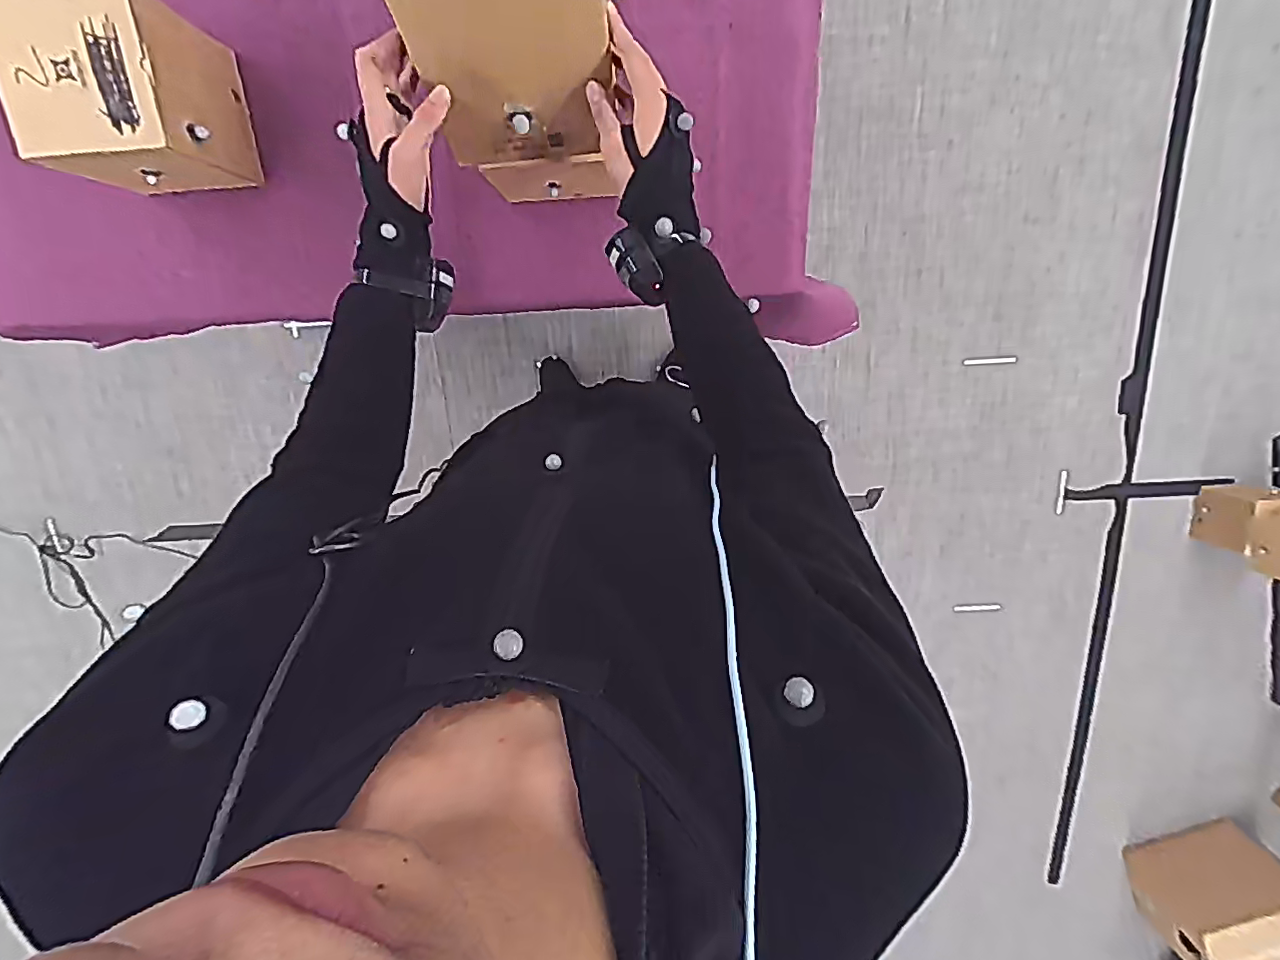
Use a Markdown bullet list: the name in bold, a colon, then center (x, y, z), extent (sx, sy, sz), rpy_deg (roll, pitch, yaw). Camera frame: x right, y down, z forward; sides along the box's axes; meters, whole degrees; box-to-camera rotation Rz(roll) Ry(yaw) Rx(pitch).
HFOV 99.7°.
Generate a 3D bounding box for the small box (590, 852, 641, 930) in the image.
- **small box**: center (-0.091, 1.522, 2.008), extent (0.179, 0.176, 0.168), rpy_deg (4, 105, -3)

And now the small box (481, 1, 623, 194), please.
- **small box**: center (-0.109, -0.473, 0.683), extent (0.168, 0.176, 0.179), rpy_deg (-3, 105, 0)

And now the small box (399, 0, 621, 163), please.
- **small box**: center (-0.107, -0.430, 0.492), extent (0.168, 0.176, 0.179), rpy_deg (-5, 77, 1)
